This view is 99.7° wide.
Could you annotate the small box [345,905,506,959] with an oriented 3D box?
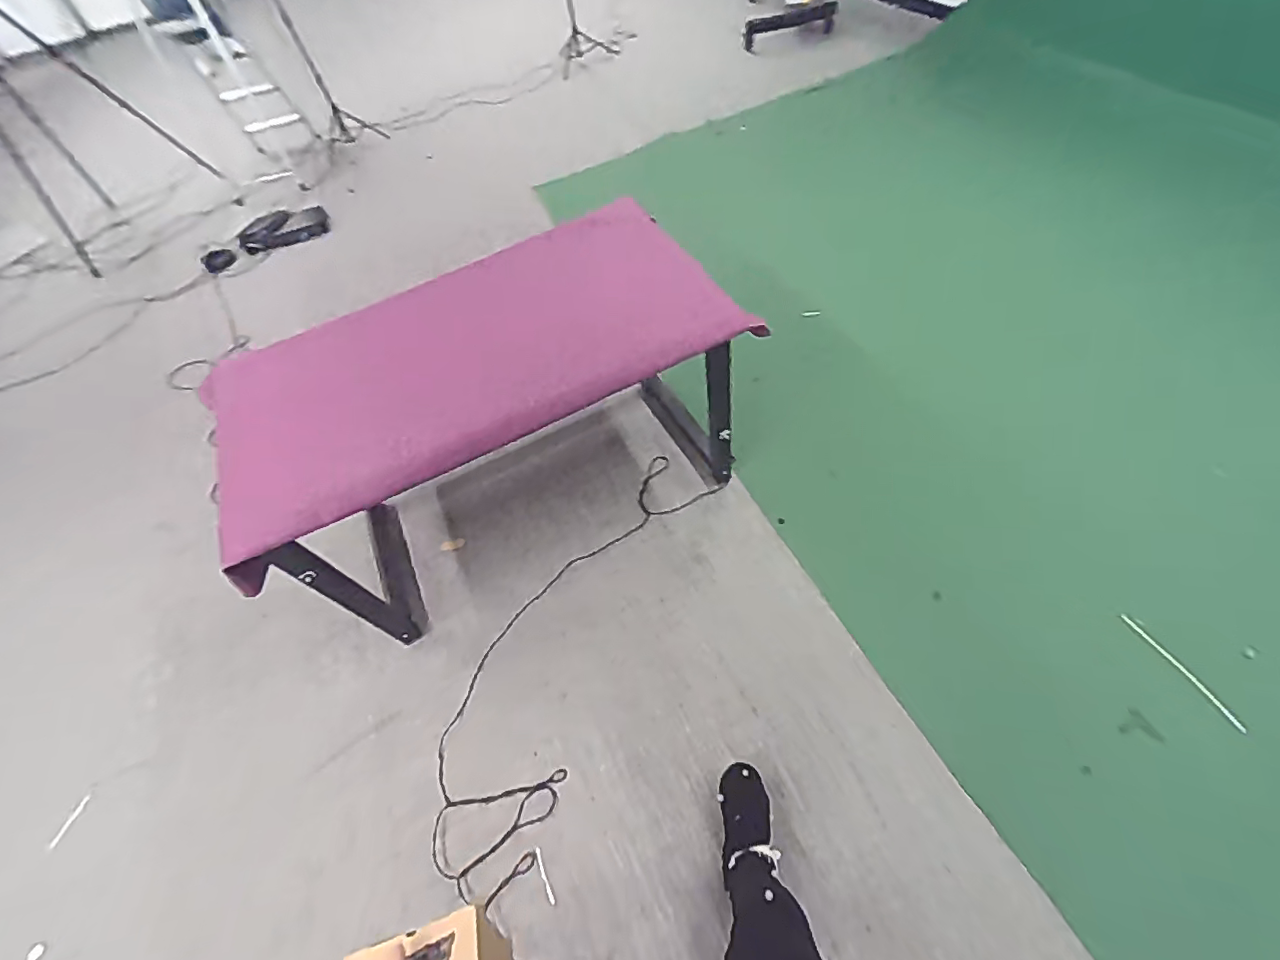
[{"bbox_3d":[-0.255,0.678,0.659,0.168,0.176,0.179,-18,36,-10],"label":"small box"}]
